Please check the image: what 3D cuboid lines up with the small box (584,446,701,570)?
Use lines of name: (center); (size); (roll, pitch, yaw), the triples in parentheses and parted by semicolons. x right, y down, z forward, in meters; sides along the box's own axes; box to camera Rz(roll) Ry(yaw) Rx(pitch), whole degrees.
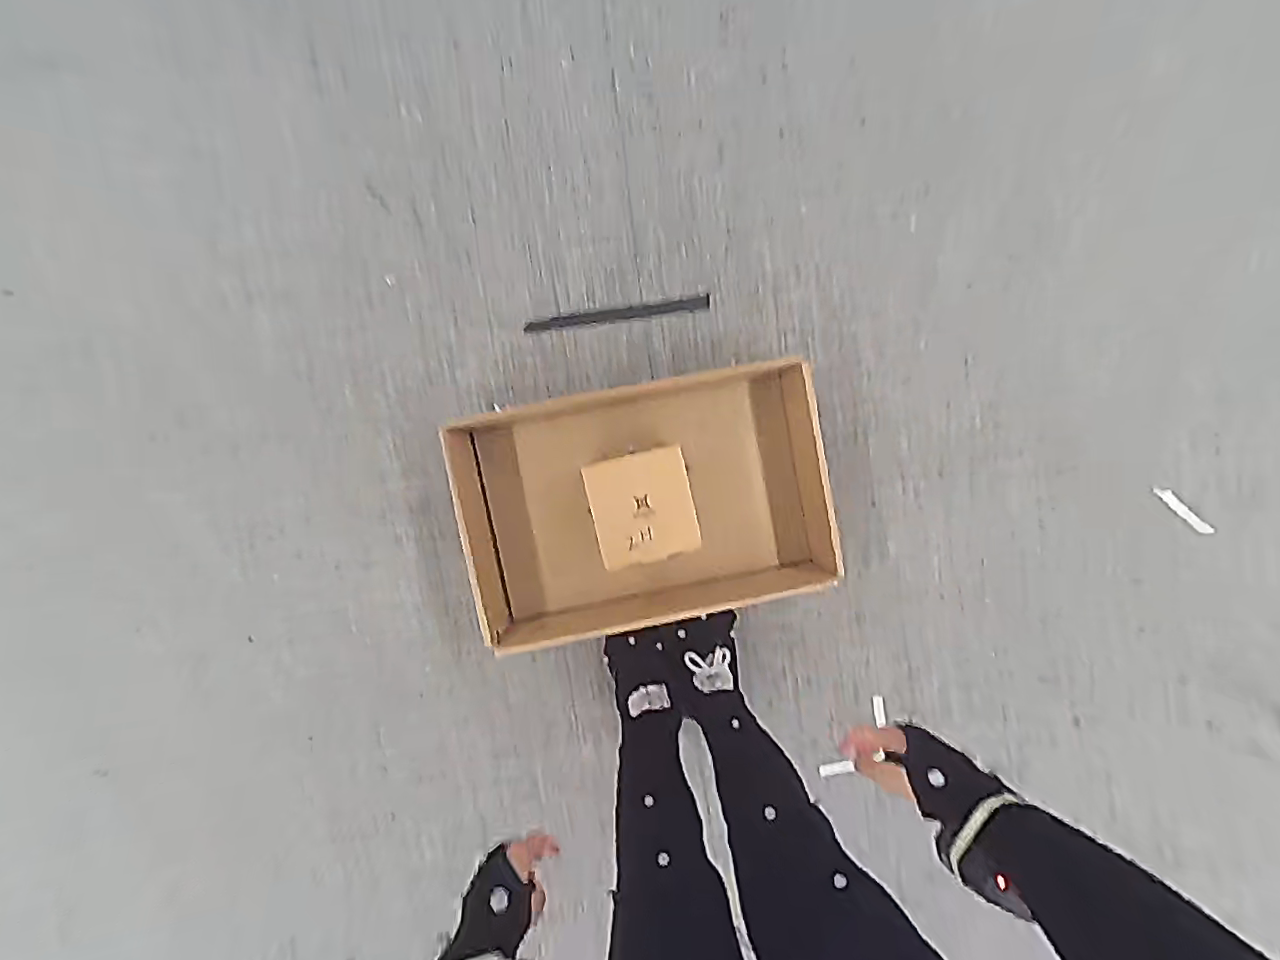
small box: (0.000, 0.042, 0.953); (0.168, 0.176, 0.179); (-13, 94, -2)
